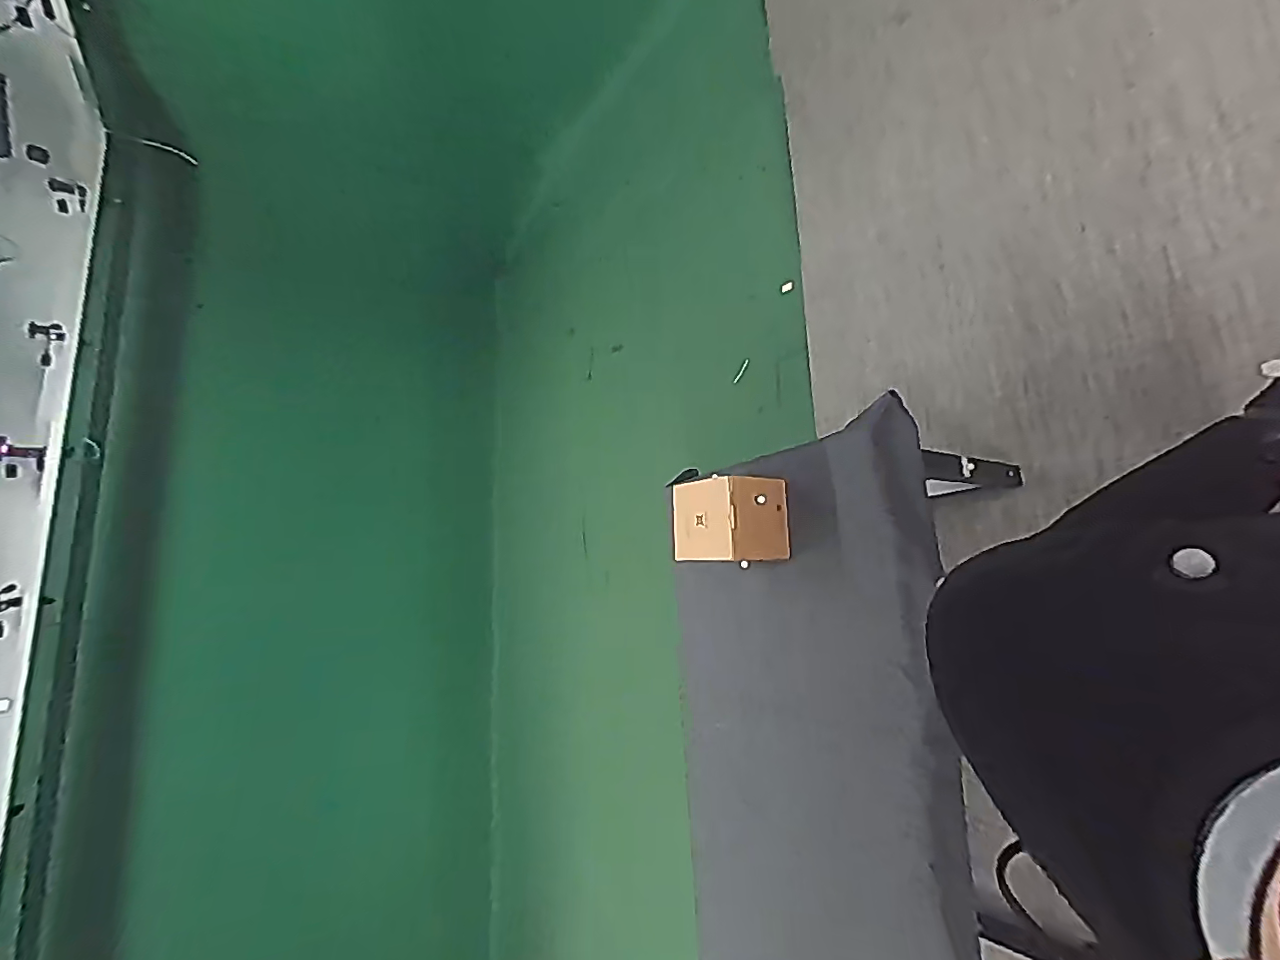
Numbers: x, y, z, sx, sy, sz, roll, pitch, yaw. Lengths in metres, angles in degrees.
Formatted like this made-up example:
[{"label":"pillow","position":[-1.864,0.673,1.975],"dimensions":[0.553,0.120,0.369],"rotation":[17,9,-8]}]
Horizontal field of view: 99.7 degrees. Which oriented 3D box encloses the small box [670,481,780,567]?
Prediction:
[{"label":"small box","position":[0.183,0.098,1.143],"dimensions":[0.179,0.176,0.168],"rotation":[-14,72,54]}]
